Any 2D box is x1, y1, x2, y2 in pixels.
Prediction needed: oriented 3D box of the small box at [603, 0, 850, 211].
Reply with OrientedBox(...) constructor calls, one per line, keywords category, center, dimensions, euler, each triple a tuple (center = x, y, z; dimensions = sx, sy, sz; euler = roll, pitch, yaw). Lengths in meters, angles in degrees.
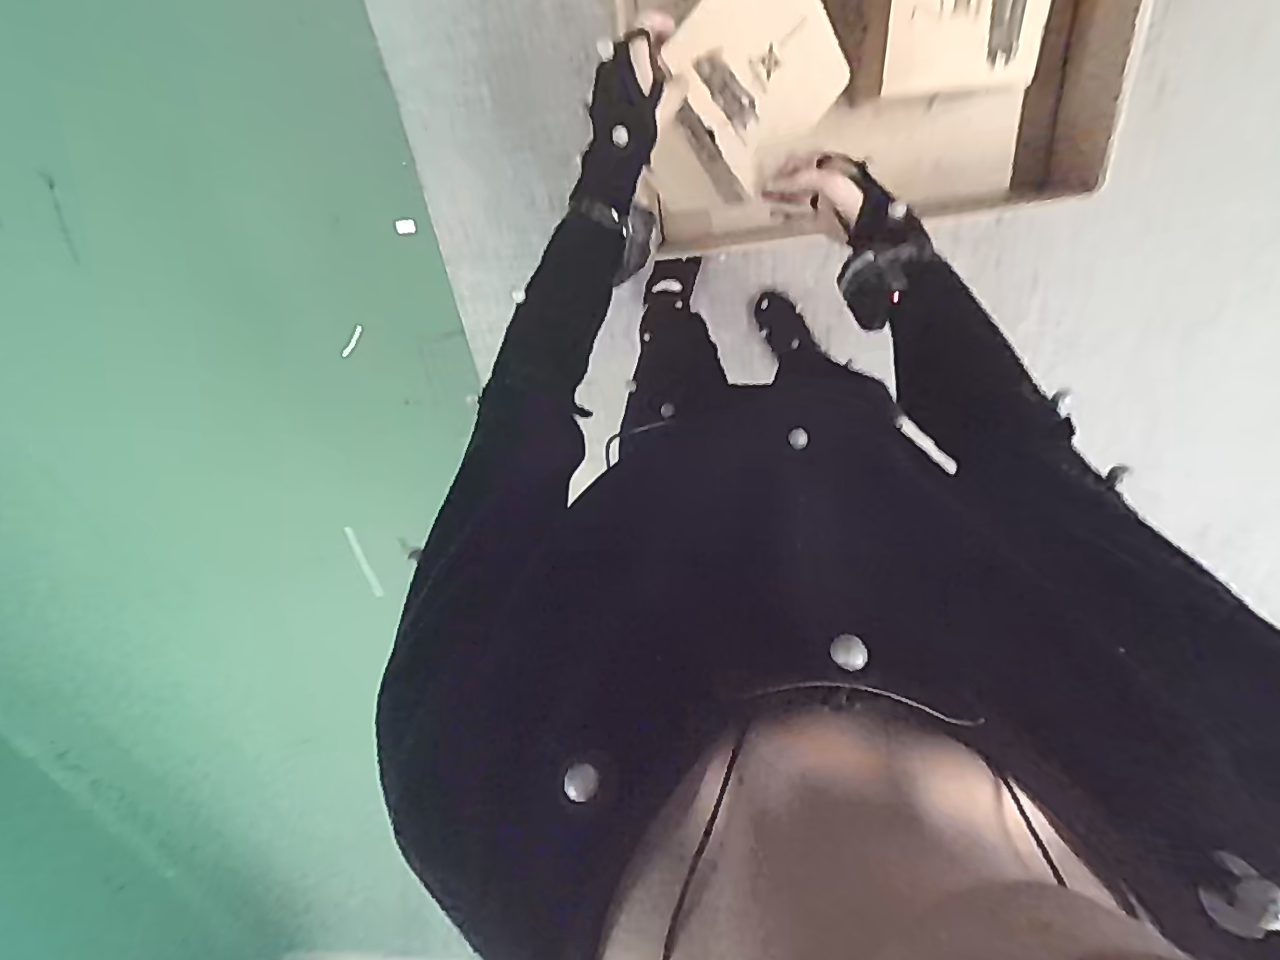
OrientedBox(category="small box", center=(0.081, -0.419, 0.589), dimensions=(0.168, 0.176, 0.179), euler=(38, 90, -36))
